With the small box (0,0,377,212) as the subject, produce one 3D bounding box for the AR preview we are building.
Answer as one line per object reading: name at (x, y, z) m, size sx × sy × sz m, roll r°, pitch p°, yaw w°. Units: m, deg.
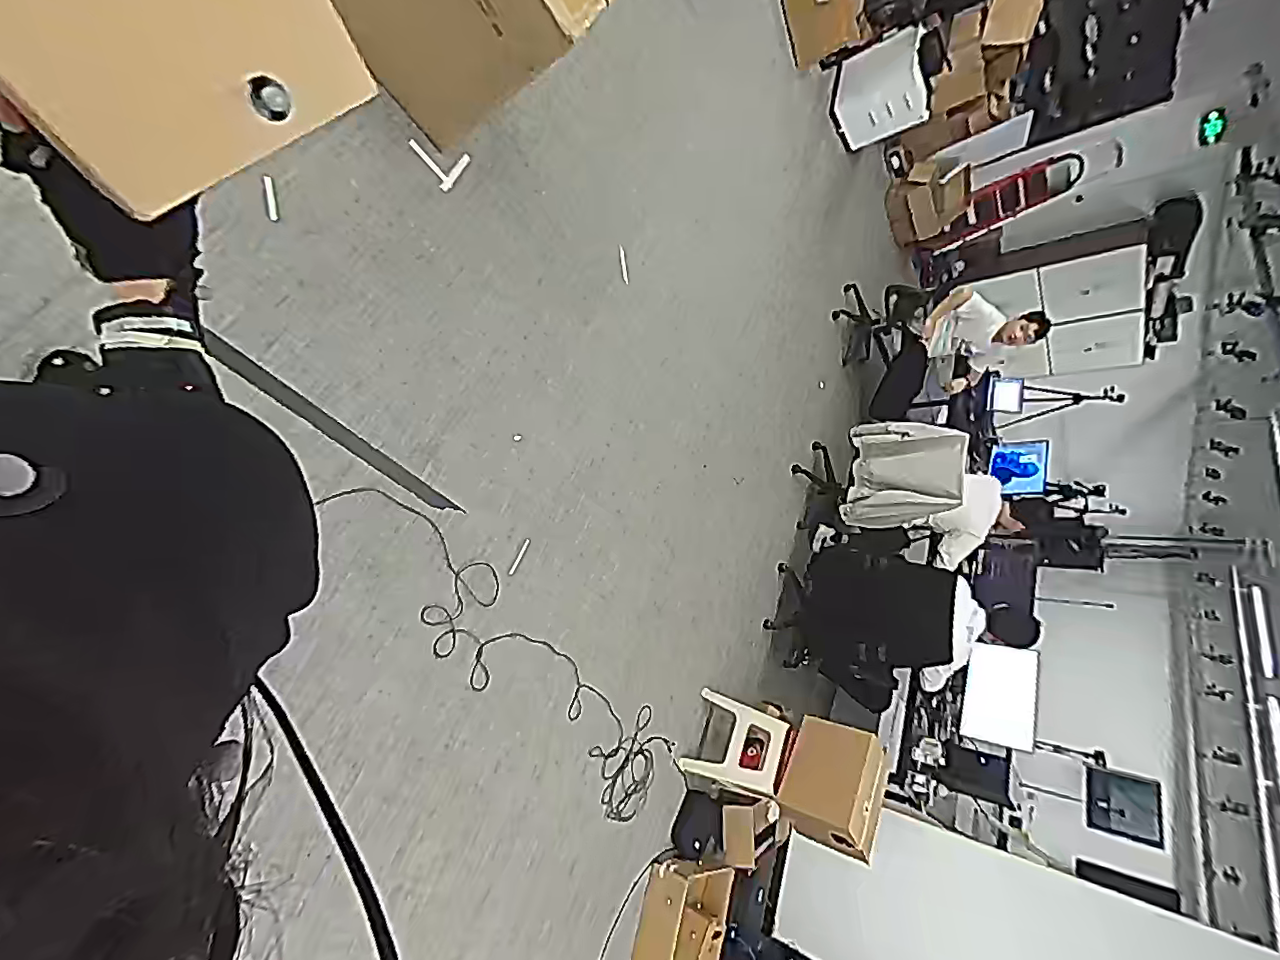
small box at (-0.302, -0.288, 0.312) m, size 0.168 × 0.179 × 0.176 m, roll -45°, pitch 143°, yaw -19°
